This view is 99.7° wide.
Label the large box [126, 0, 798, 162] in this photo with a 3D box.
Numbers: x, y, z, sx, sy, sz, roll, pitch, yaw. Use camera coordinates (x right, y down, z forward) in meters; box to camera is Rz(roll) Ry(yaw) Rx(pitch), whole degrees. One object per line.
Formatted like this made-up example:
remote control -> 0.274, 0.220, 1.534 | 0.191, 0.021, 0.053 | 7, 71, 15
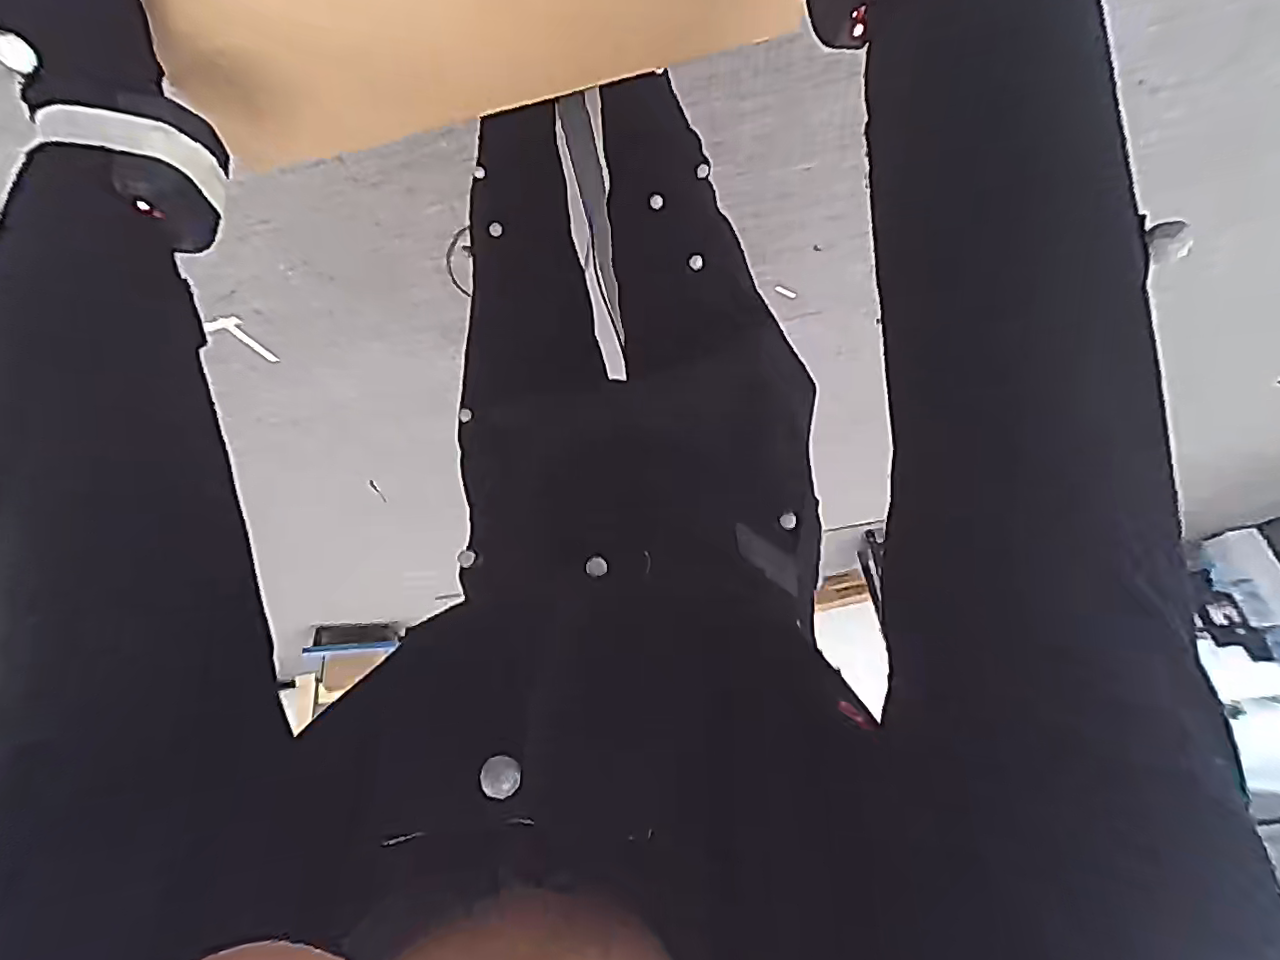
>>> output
large box -> -0.132, -0.468, 0.310 | 0.408, 0.320, 0.320 | -12, 158, 4
